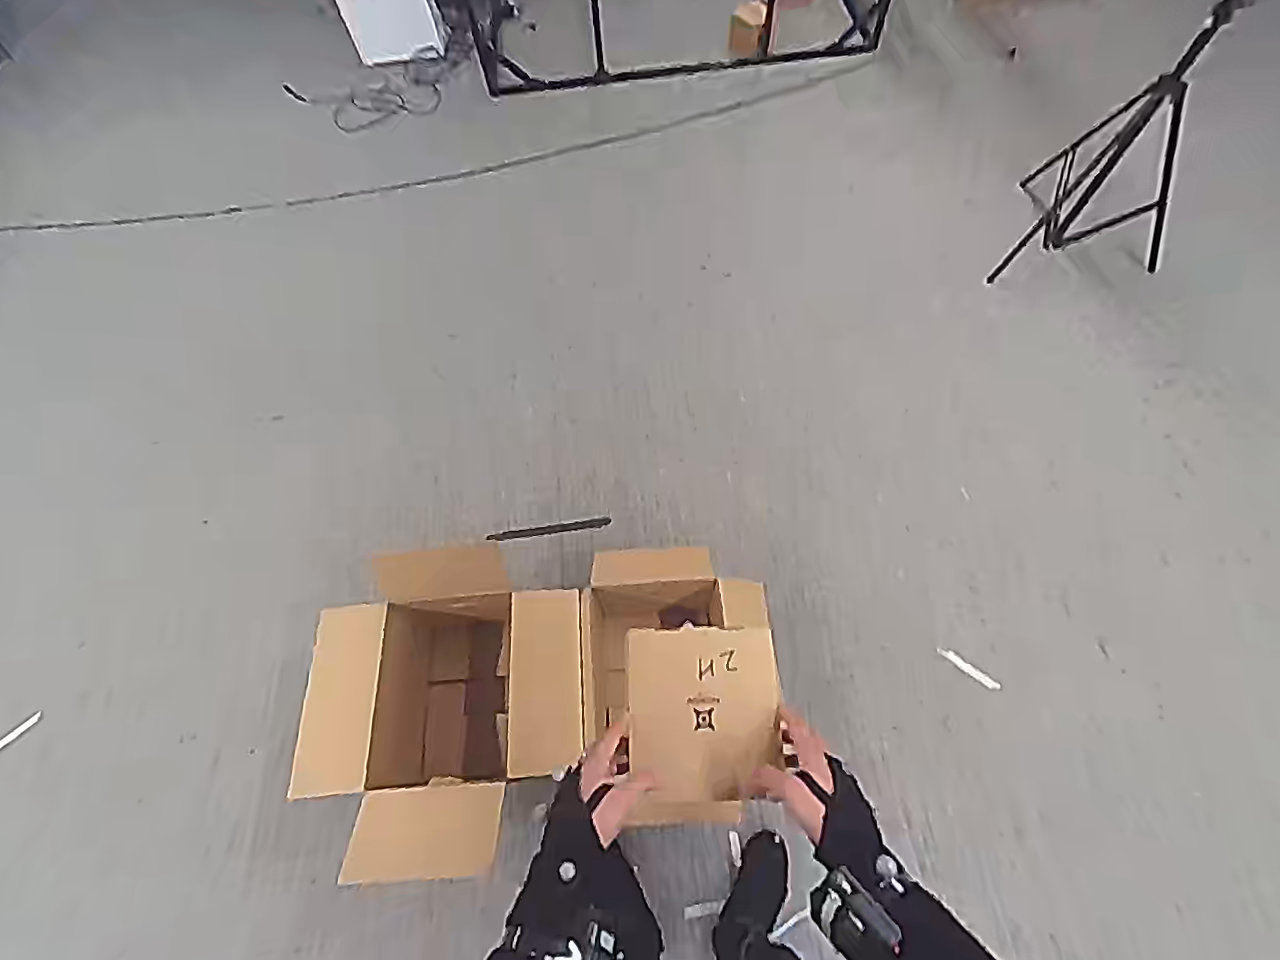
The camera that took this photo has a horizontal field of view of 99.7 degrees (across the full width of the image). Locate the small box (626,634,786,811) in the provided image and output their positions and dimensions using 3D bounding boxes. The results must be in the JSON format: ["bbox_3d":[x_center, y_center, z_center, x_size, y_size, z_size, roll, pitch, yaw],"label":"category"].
[{"bbox_3d":[0.068,0.284,0.658,0.168,0.176,0.179,0,69,-2],"label":"small box"}]
